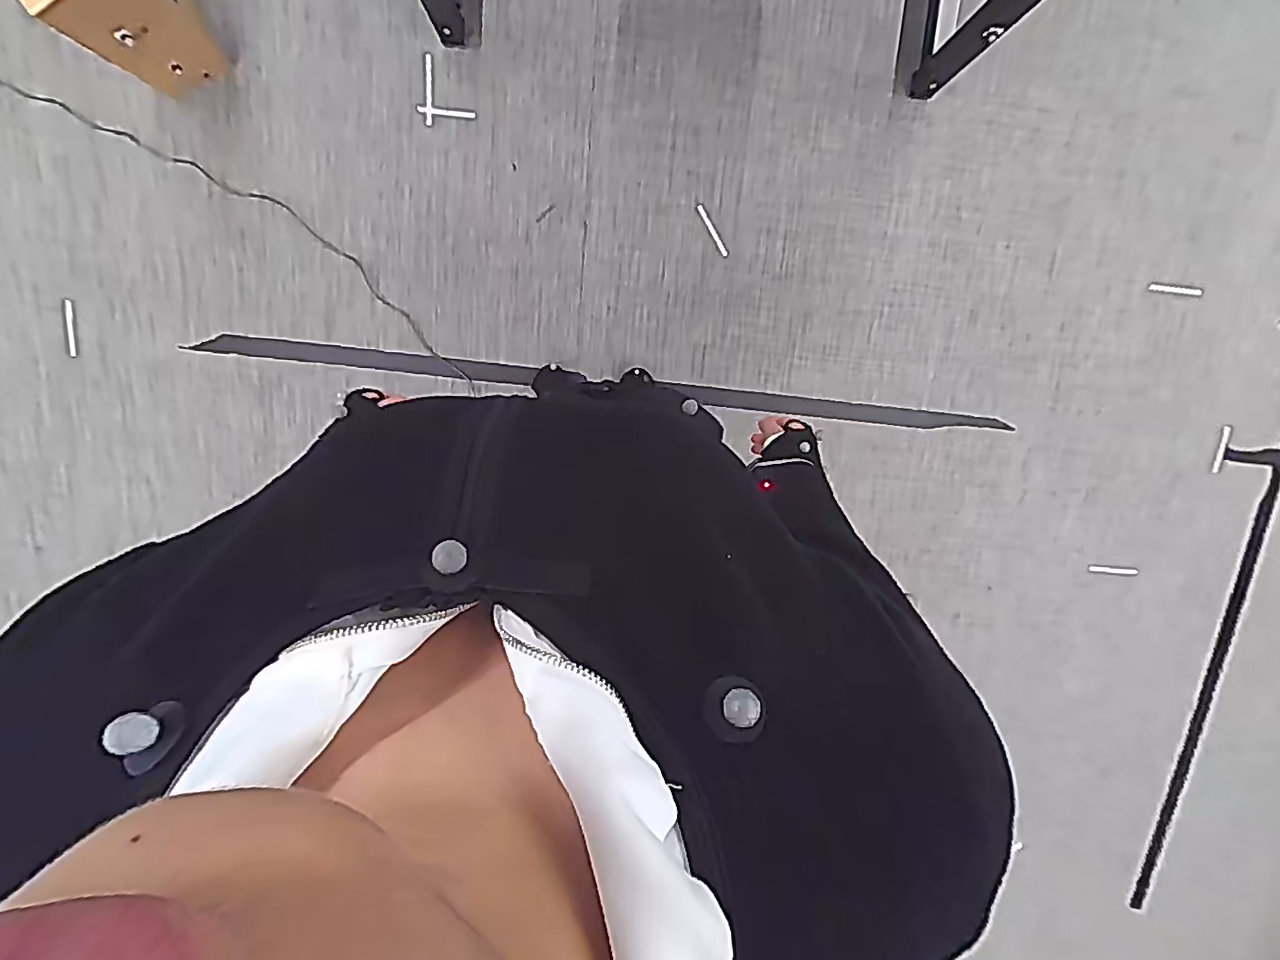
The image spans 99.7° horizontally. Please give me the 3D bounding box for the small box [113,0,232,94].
[{"bbox_3d":[-1.047,-0.983,1.171,0.168,0.176,0.179,-27,101,2],"label":"small box"}]

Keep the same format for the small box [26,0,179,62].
[{"bbox_3d":[-1.041,-0.948,1.012,0.168,0.176,0.179,-31,102,5],"label":"small box"}]
